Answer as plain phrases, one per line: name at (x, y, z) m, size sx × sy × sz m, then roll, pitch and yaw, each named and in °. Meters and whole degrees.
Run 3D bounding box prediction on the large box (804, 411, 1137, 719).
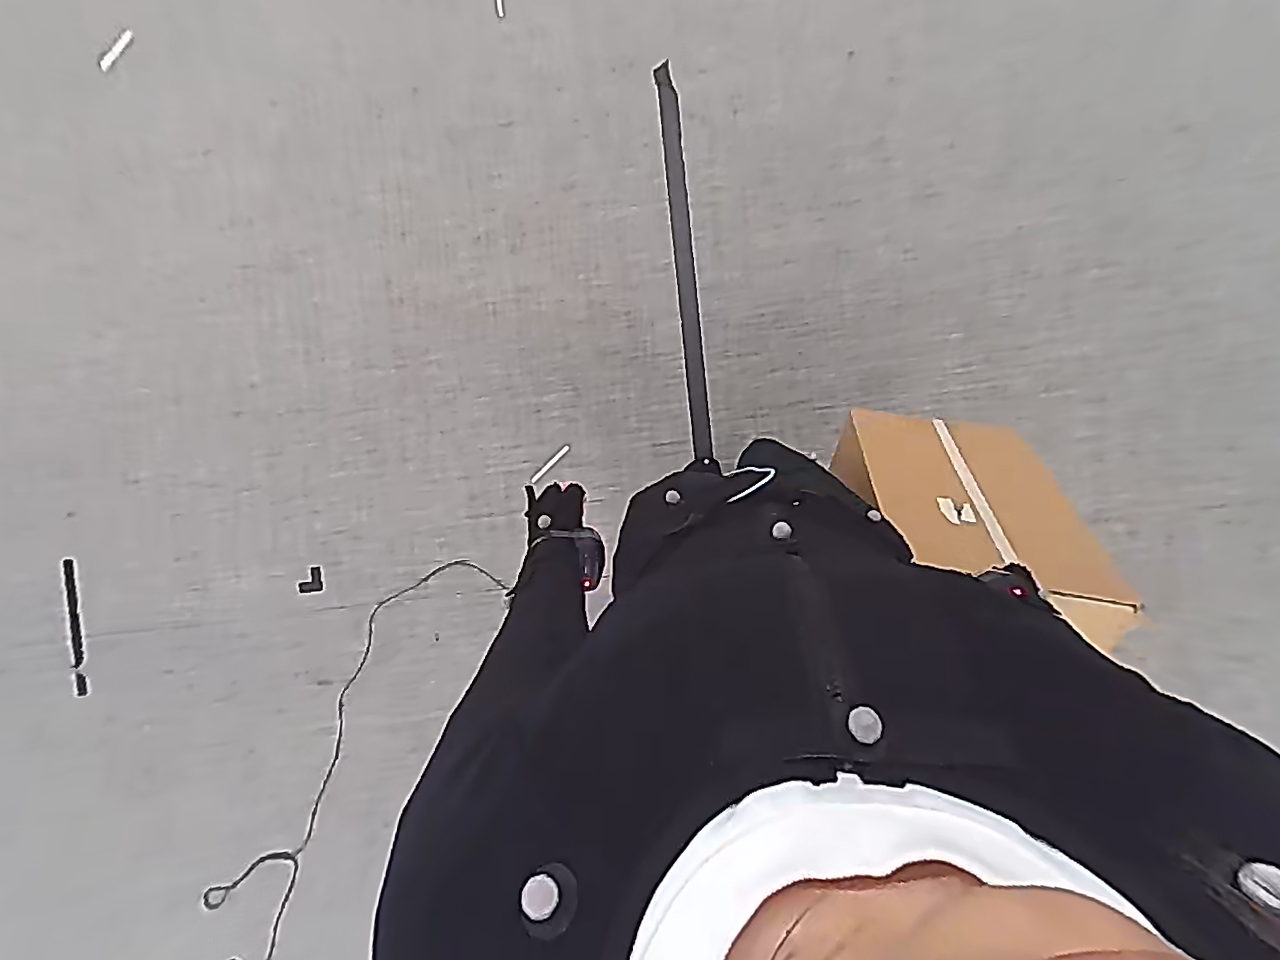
large box at (0.497, 0.132, 0.941) m, size 0.320 × 0.408 × 0.320 m, roll 8°, pitch 131°, yaw 4°
